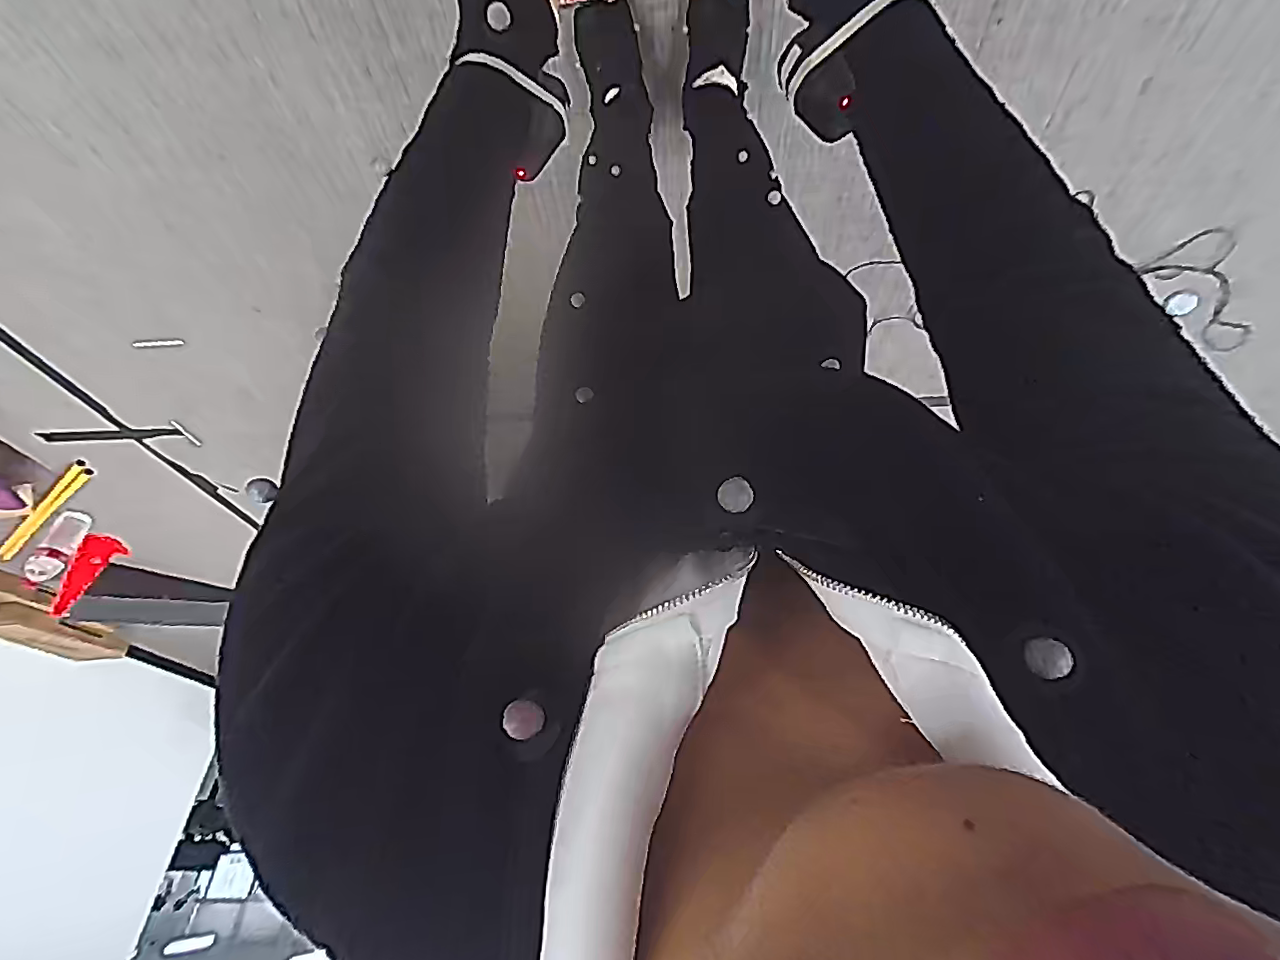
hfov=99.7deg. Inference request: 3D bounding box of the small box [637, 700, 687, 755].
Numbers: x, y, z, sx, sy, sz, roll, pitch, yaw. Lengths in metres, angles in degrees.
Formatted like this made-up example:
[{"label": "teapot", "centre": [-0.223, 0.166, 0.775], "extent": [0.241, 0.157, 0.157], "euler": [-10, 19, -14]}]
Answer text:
[{"label": "small box", "centre": [0.085, 0.961, 2.100], "extent": [0.179, 0.176, 0.168], "euler": [-6, 145, 7]}]
